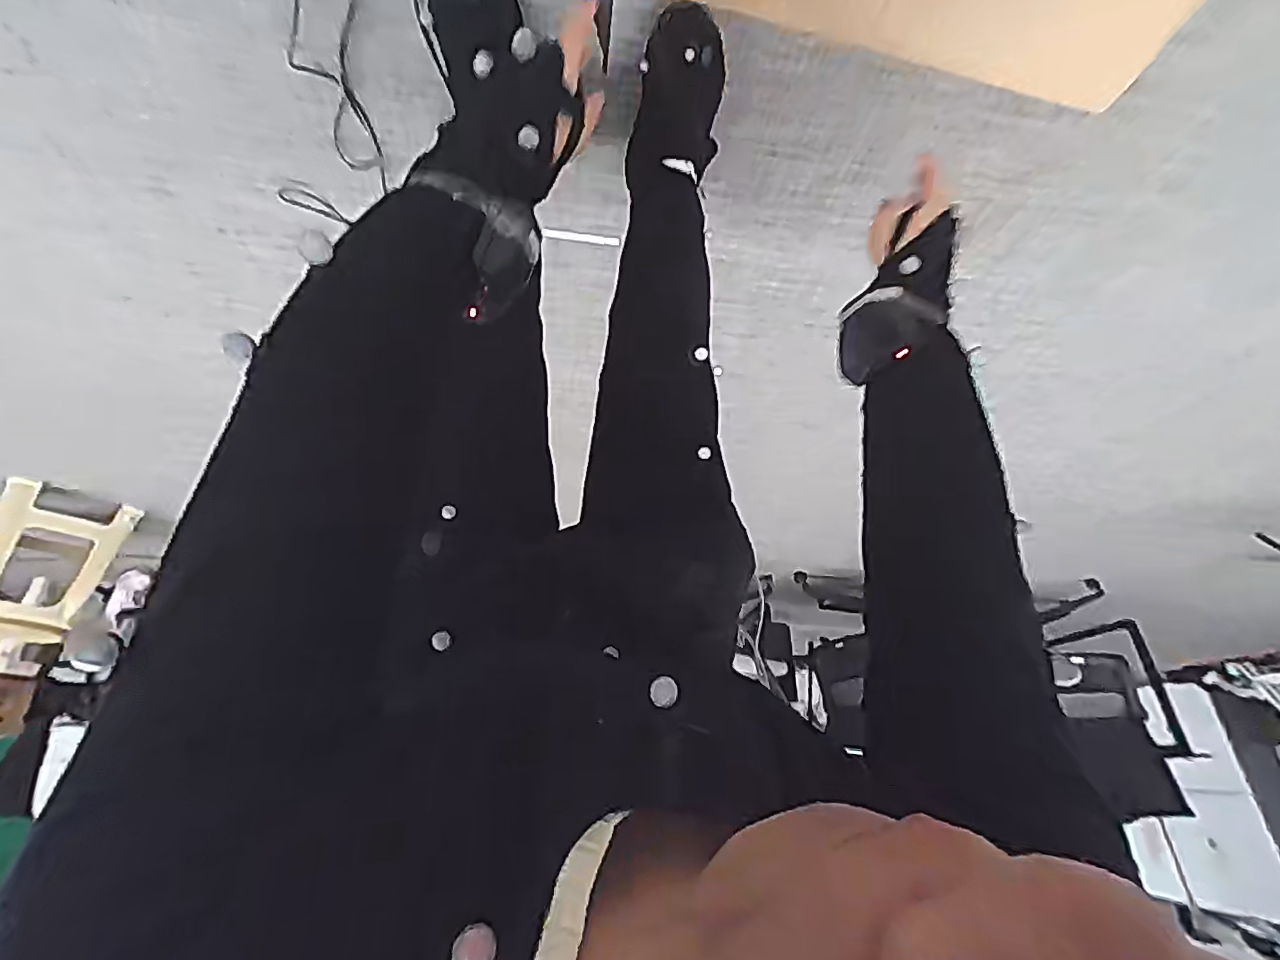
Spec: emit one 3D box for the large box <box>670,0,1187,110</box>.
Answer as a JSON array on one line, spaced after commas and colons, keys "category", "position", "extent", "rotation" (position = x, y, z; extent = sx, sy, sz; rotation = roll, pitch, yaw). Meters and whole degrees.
[{"category": "large box", "position": [0.239, -0.552, 0.400], "extent": [0.408, 0.320, 0.320], "rotation": [5, 151, -11]}]
